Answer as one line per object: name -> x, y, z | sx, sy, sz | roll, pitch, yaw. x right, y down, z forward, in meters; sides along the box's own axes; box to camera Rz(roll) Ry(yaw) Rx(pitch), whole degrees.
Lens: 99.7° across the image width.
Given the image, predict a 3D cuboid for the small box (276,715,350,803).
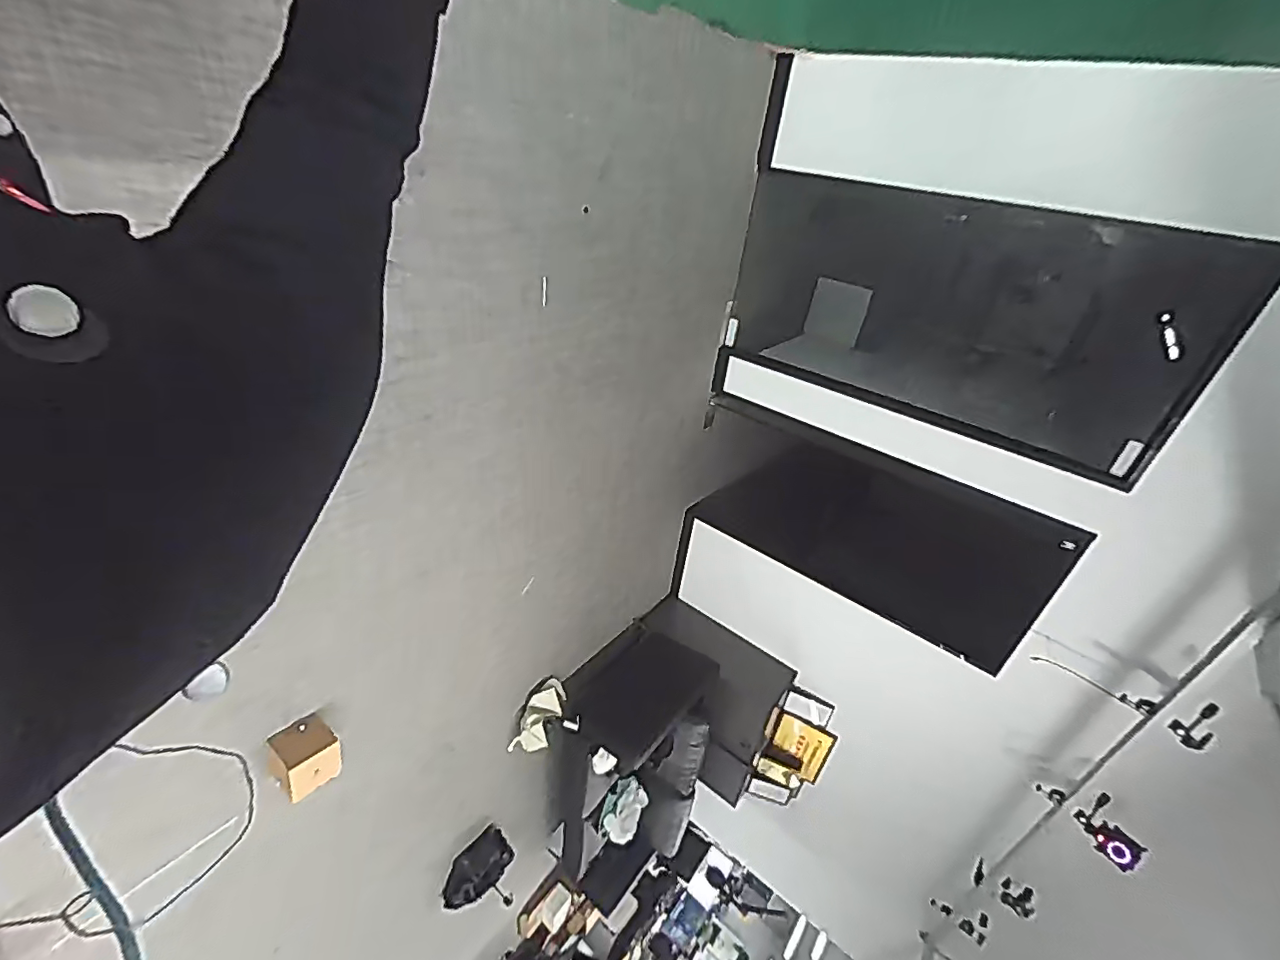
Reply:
small box -> -1.141, 0.966, 1.888 | 0.168, 0.176, 0.179 | -23, 133, -50
